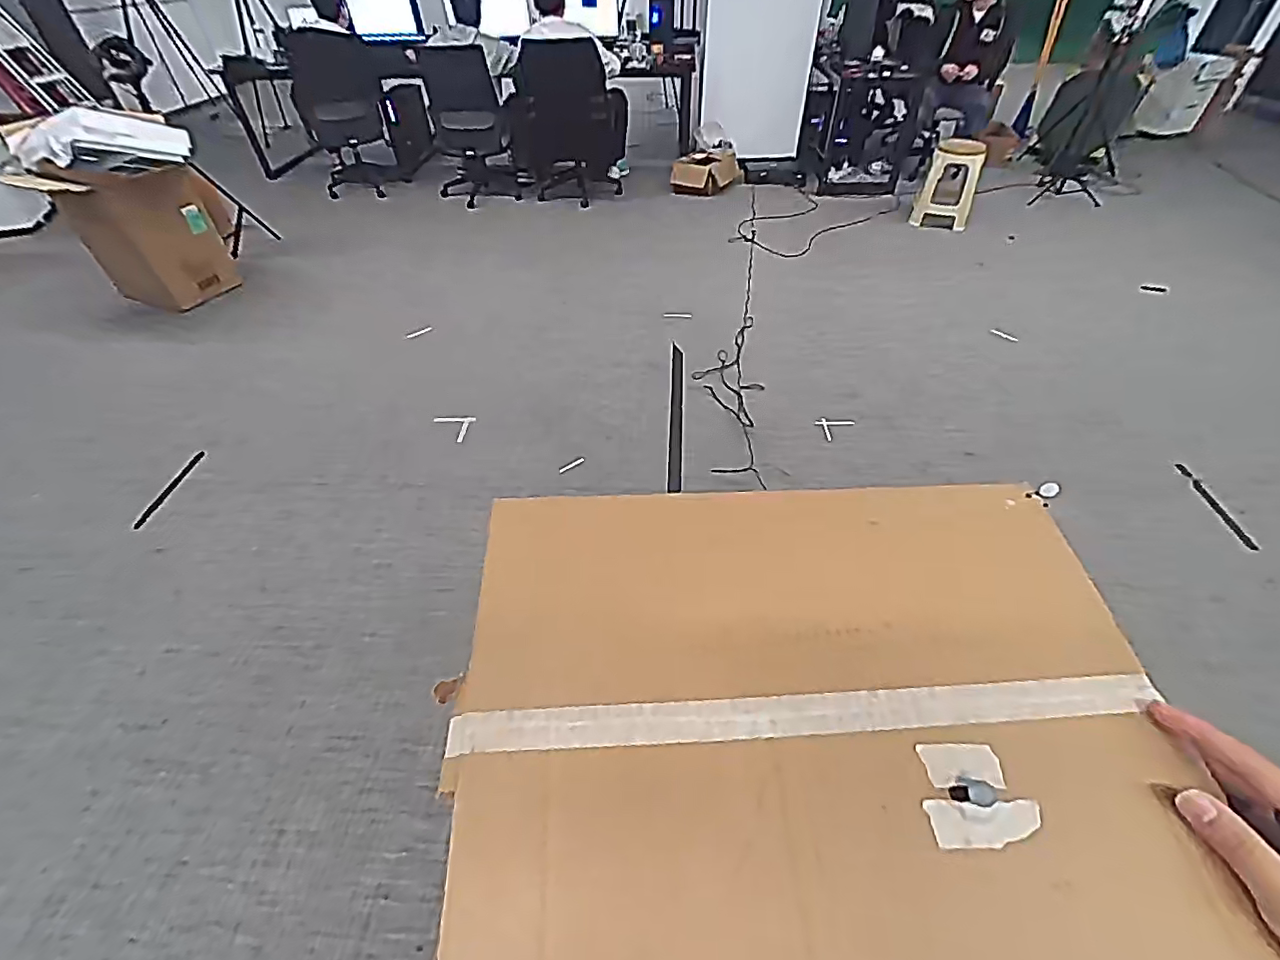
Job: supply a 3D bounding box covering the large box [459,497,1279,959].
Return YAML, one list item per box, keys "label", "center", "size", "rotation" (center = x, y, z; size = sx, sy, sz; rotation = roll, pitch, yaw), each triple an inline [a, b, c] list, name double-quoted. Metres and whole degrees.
- label: "large box"
  center: [0.098, 0.232, 0.438]
  size: [0.408, 0.320, 0.320]
  rotation: [-1, 54, -4]
